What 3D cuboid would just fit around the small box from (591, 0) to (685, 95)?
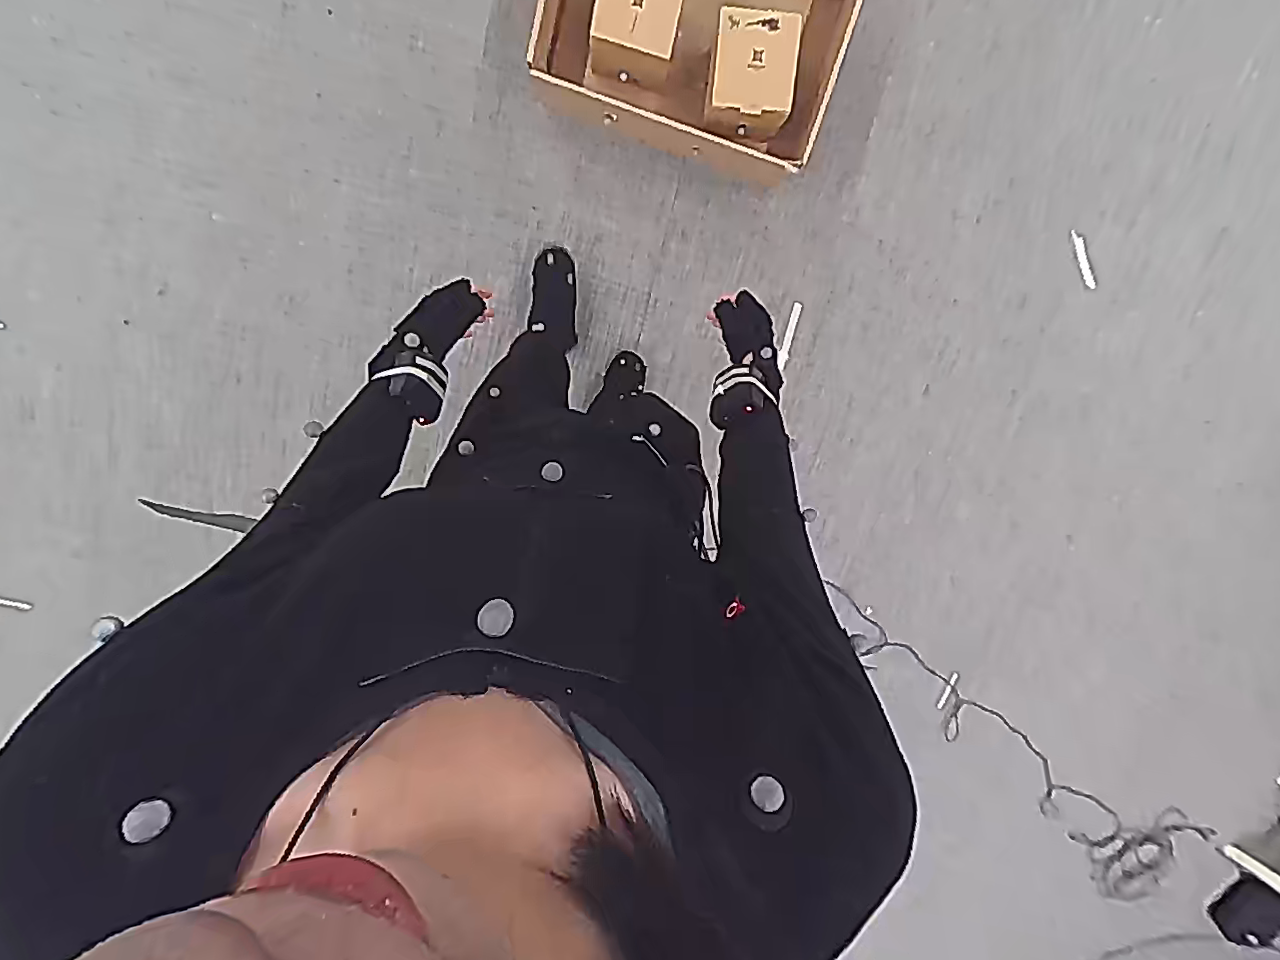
[{"bbox_3d":[-0.004,-0.949,1.121,0.168,0.176,0.179,13,105,-7],"label":"small box"}]
